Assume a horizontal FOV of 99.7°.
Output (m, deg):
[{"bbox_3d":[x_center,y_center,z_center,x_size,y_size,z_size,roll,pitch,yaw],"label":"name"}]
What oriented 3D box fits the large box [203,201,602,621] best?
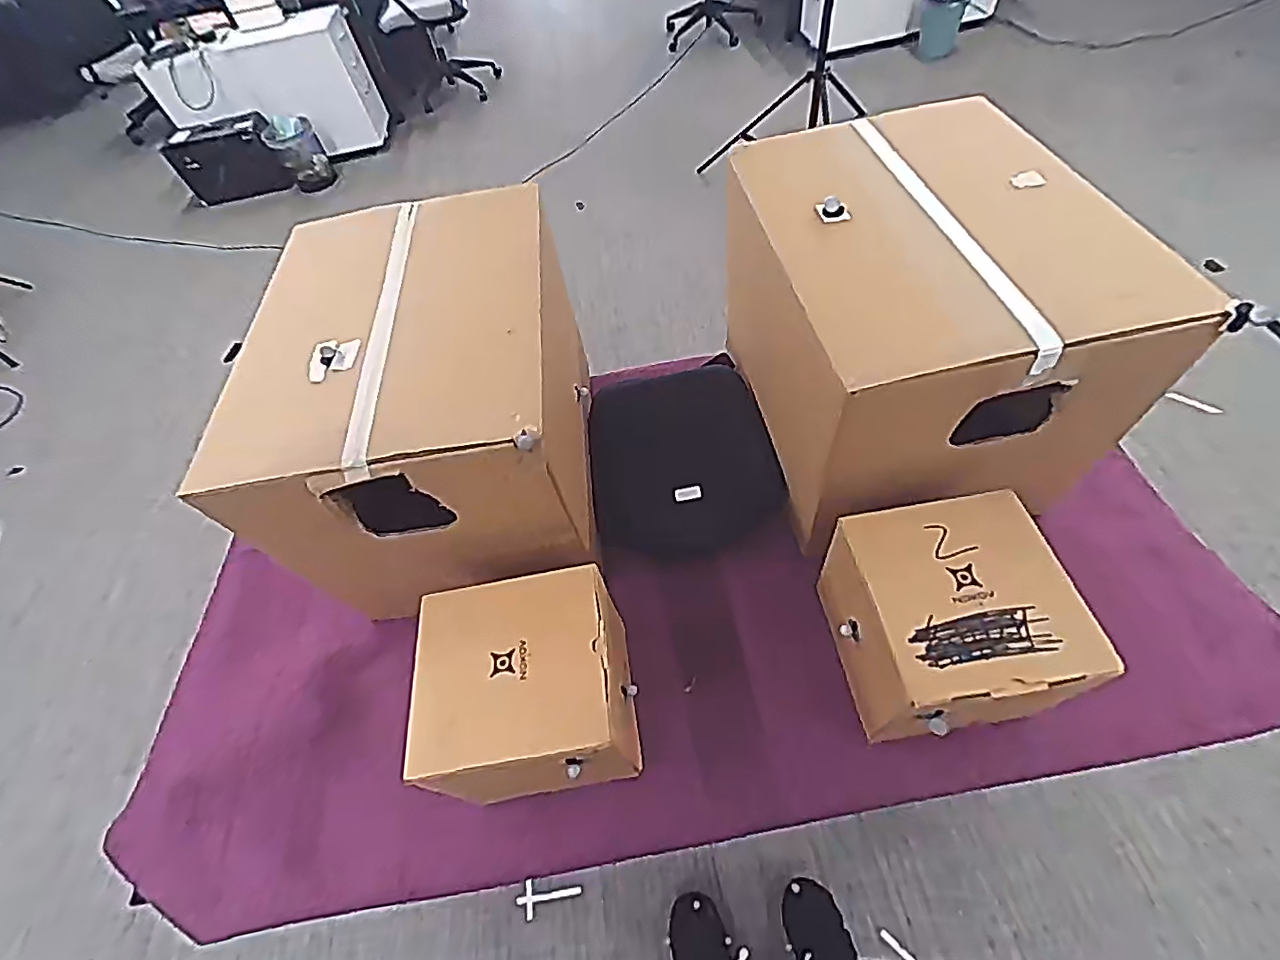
[{"bbox_3d":[-0.238,-0.079,0.691,0.320,0.320,0.408,-10,57,3],"label":"large box"}]
